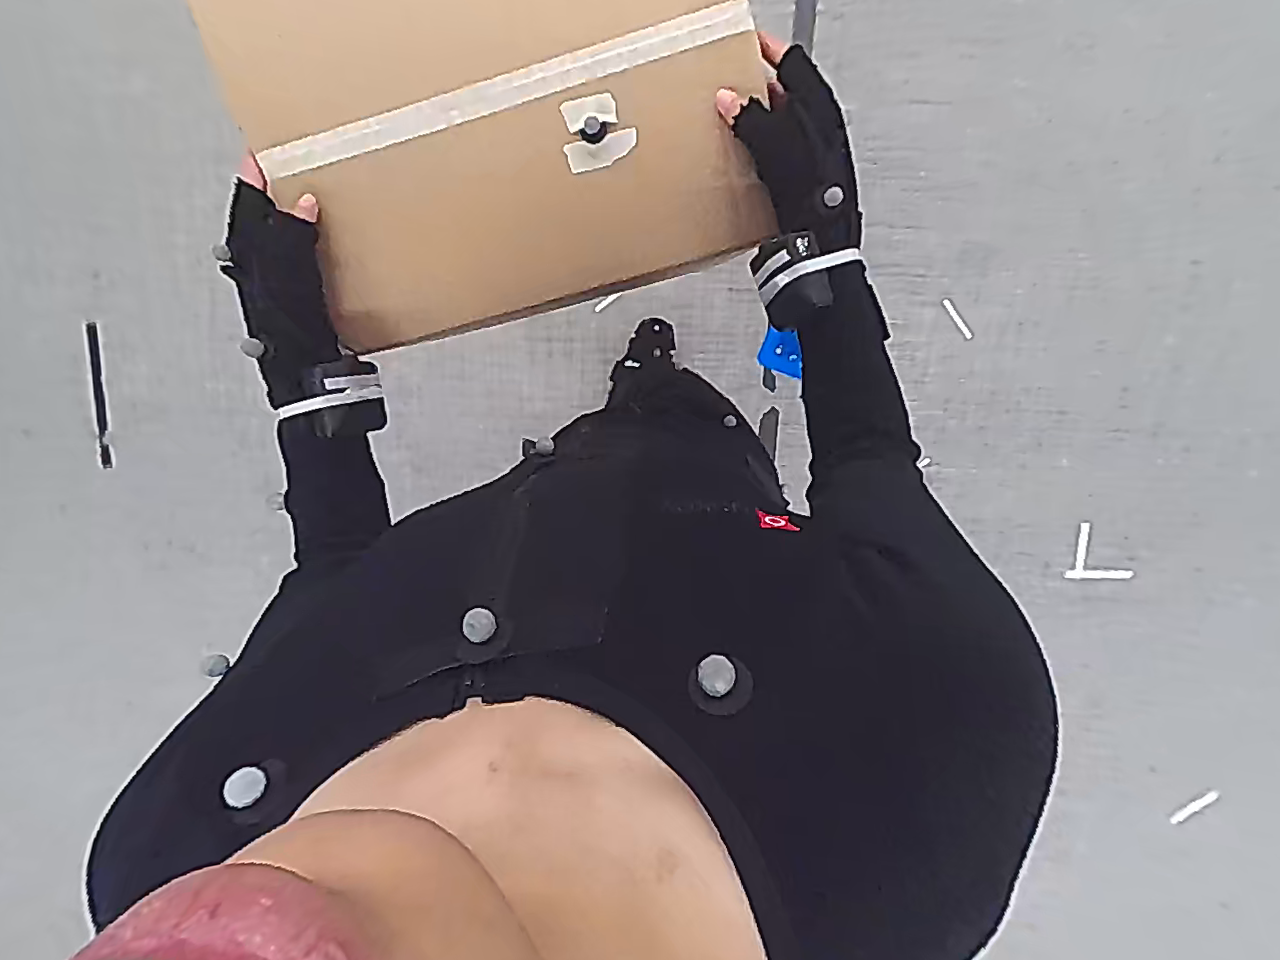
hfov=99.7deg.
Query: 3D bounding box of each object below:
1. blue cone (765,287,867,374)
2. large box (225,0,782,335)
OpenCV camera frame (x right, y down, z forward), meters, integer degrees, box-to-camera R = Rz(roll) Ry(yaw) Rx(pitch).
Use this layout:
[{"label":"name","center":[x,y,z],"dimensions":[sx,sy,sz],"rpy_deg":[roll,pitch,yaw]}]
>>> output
[{"label":"blue cone","center":[0.425,-0.351,1.226],"dimensions":[0.193,0.380,0.192],"rpy_deg":[23,101,-2]},{"label":"large box","center":[-0.106,-0.363,0.579],"dimensions":[0.408,0.320,0.320],"rpy_deg":[-13,108,4]}]
